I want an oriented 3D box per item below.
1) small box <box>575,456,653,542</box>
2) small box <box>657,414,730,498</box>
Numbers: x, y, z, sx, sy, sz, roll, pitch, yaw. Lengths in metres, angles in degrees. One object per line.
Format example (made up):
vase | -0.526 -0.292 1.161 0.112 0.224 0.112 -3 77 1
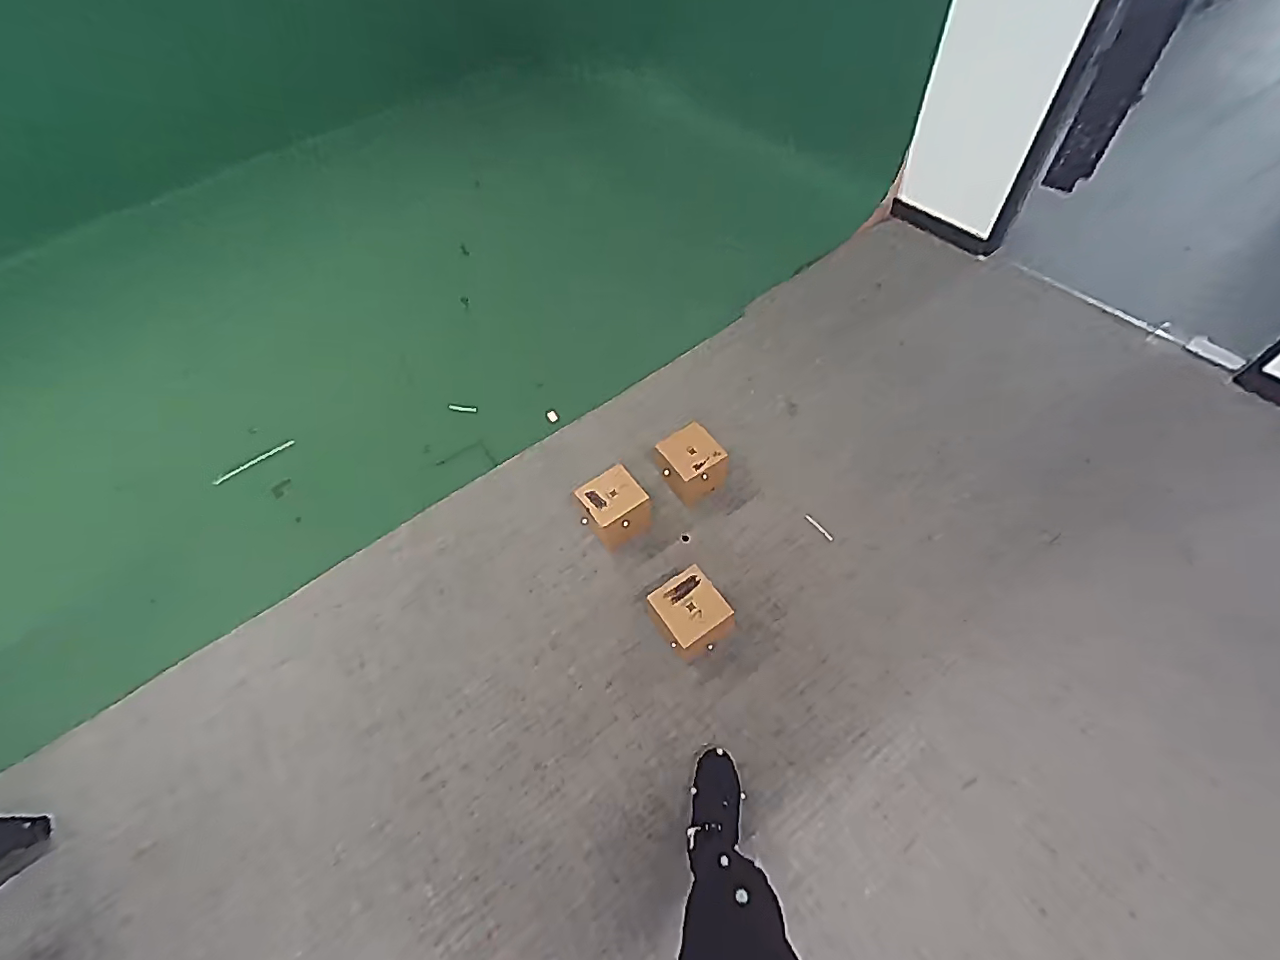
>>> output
small box | -0.075 0.065 1.697 0.179 0.176 0.168 -33 60 -13
small box | 0.174 -0.073 1.751 0.168 0.176 0.179 -31 59 -12
